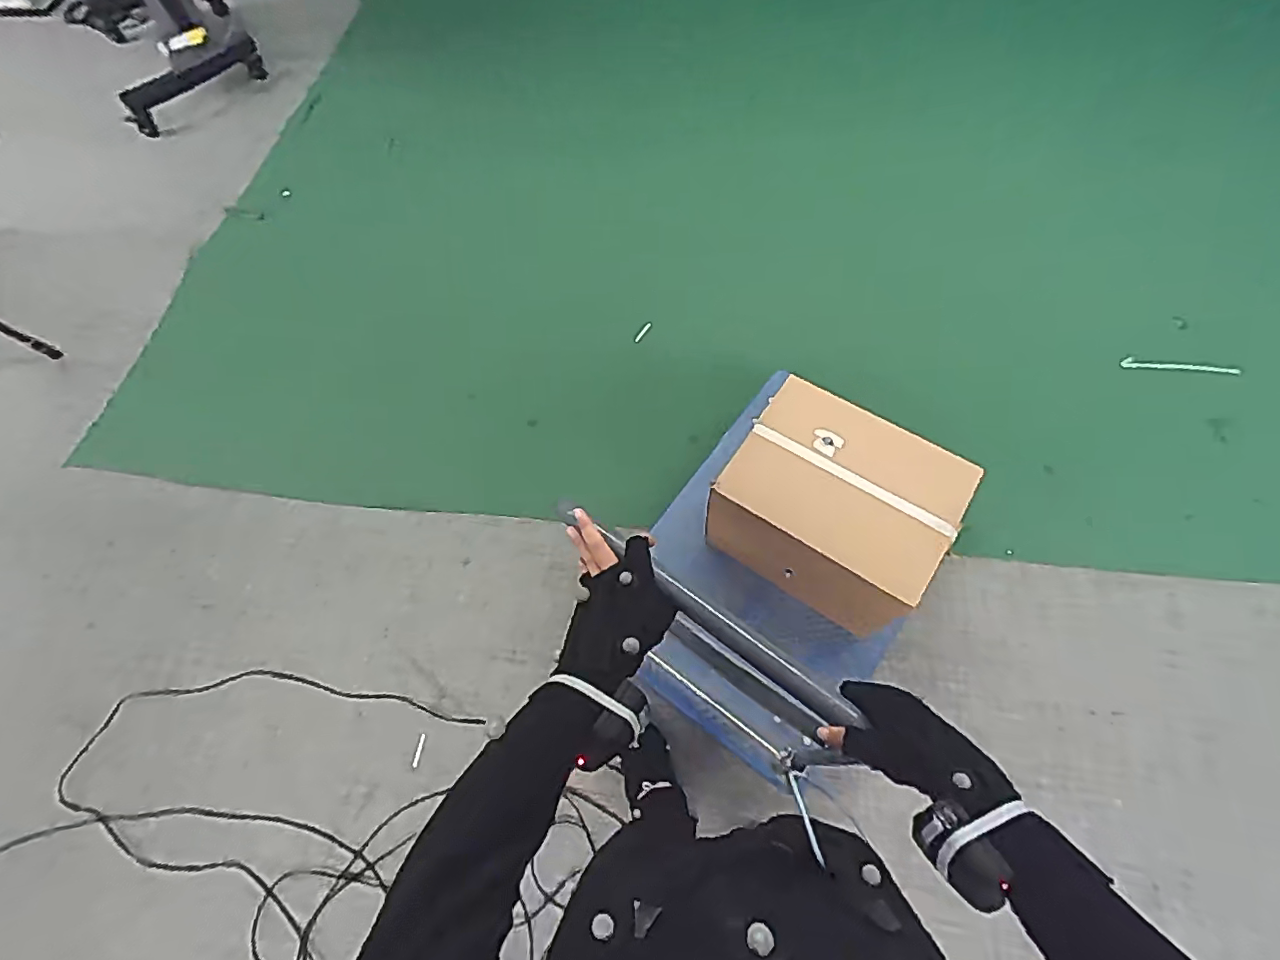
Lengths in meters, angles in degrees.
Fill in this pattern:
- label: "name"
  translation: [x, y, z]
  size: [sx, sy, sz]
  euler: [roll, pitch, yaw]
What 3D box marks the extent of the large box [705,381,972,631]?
- label: "large box"
  translation: [0.389, 0.066, 1.155]
  size: [0.408, 0.320, 0.320]
  euler: [31, 70, 18]
